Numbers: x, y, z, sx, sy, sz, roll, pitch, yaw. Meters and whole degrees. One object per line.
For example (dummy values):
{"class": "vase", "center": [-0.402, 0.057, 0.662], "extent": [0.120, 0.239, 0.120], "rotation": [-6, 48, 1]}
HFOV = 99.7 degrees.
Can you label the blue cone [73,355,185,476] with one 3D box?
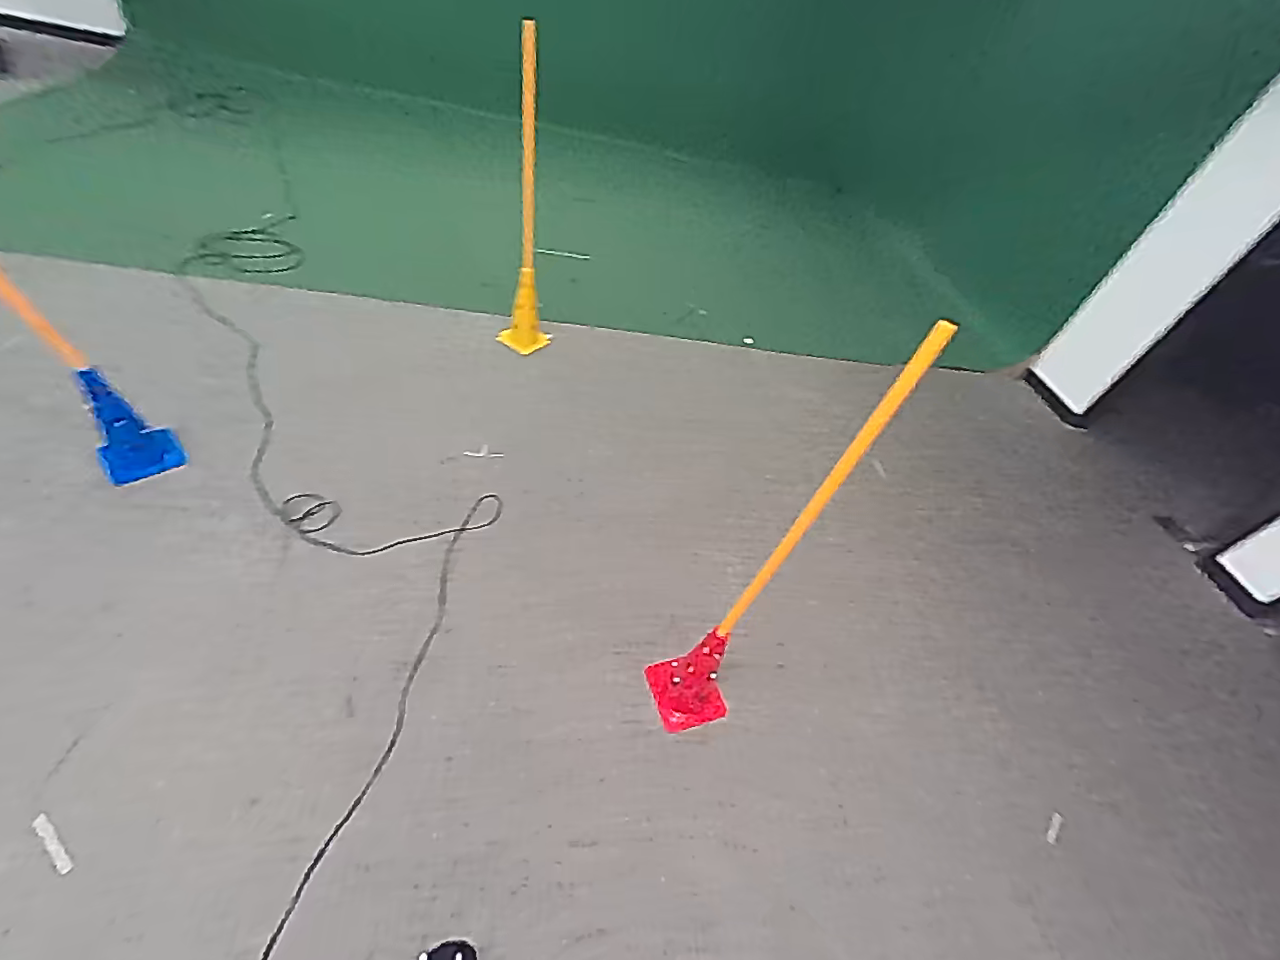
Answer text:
{"class": "blue cone", "center": [-1.563, -0.204, 1.614], "extent": [0.192, 0.380, 0.193], "rotation": [41, 52, 21]}
